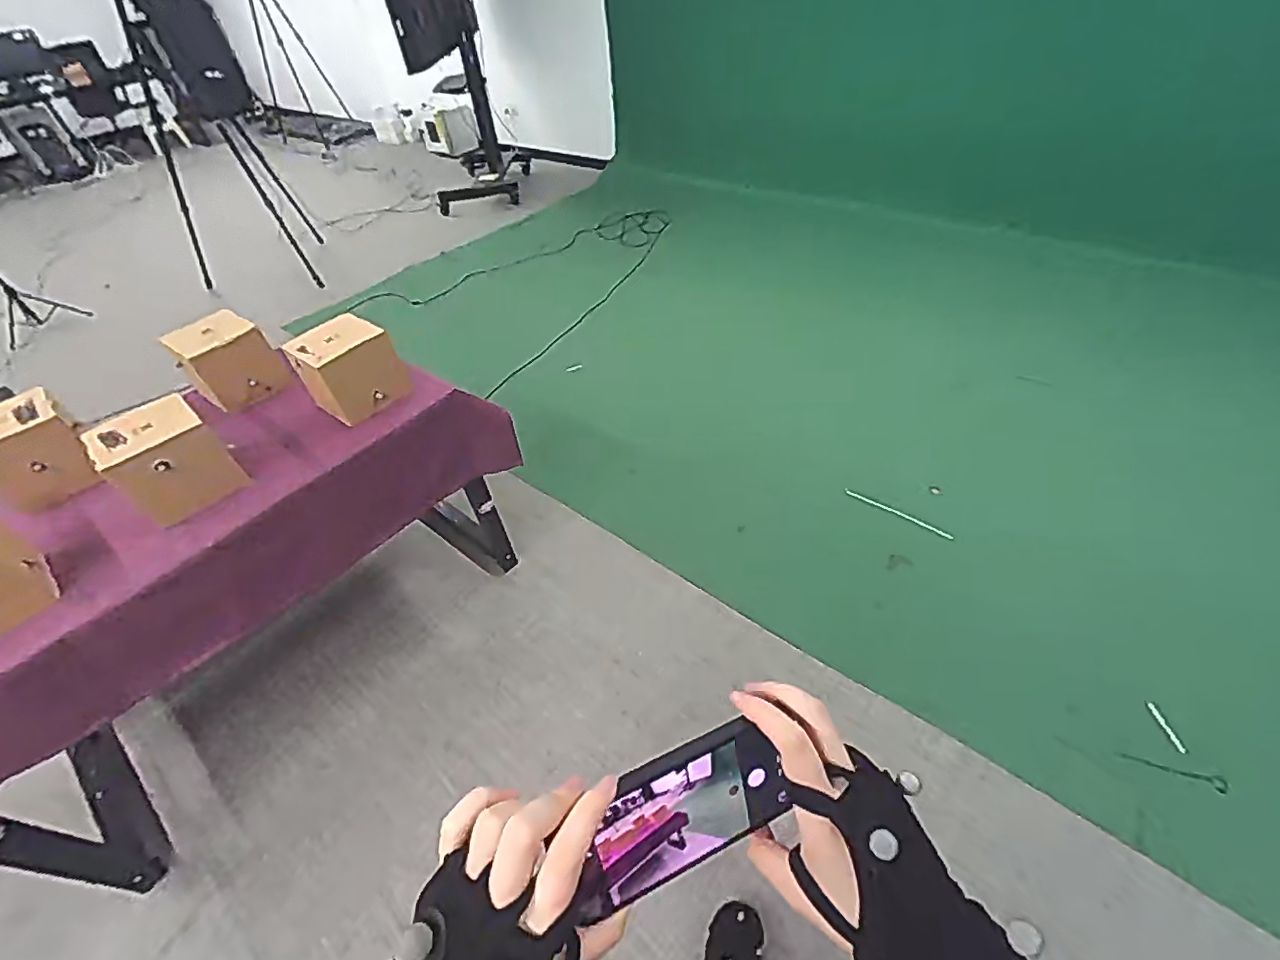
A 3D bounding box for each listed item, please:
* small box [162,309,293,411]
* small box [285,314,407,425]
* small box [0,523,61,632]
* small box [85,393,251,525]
[{"bbox_3d":[-1.019,-0.296,1.345,0.179,0.176,0.168,26,54,27],"label":"small box"},{"bbox_3d":[-0.681,-0.262,1.279,0.168,0.176,0.179,27,54,29],"label":"small box"},{"bbox_3d":[-1.156,0.172,0.909,0.168,0.176,0.179,29,54,30],"label":"small box"},{"bbox_3d":[-0.944,-0.042,1.093,0.168,0.176,0.179,32,56,31],"label":"small box"}]
